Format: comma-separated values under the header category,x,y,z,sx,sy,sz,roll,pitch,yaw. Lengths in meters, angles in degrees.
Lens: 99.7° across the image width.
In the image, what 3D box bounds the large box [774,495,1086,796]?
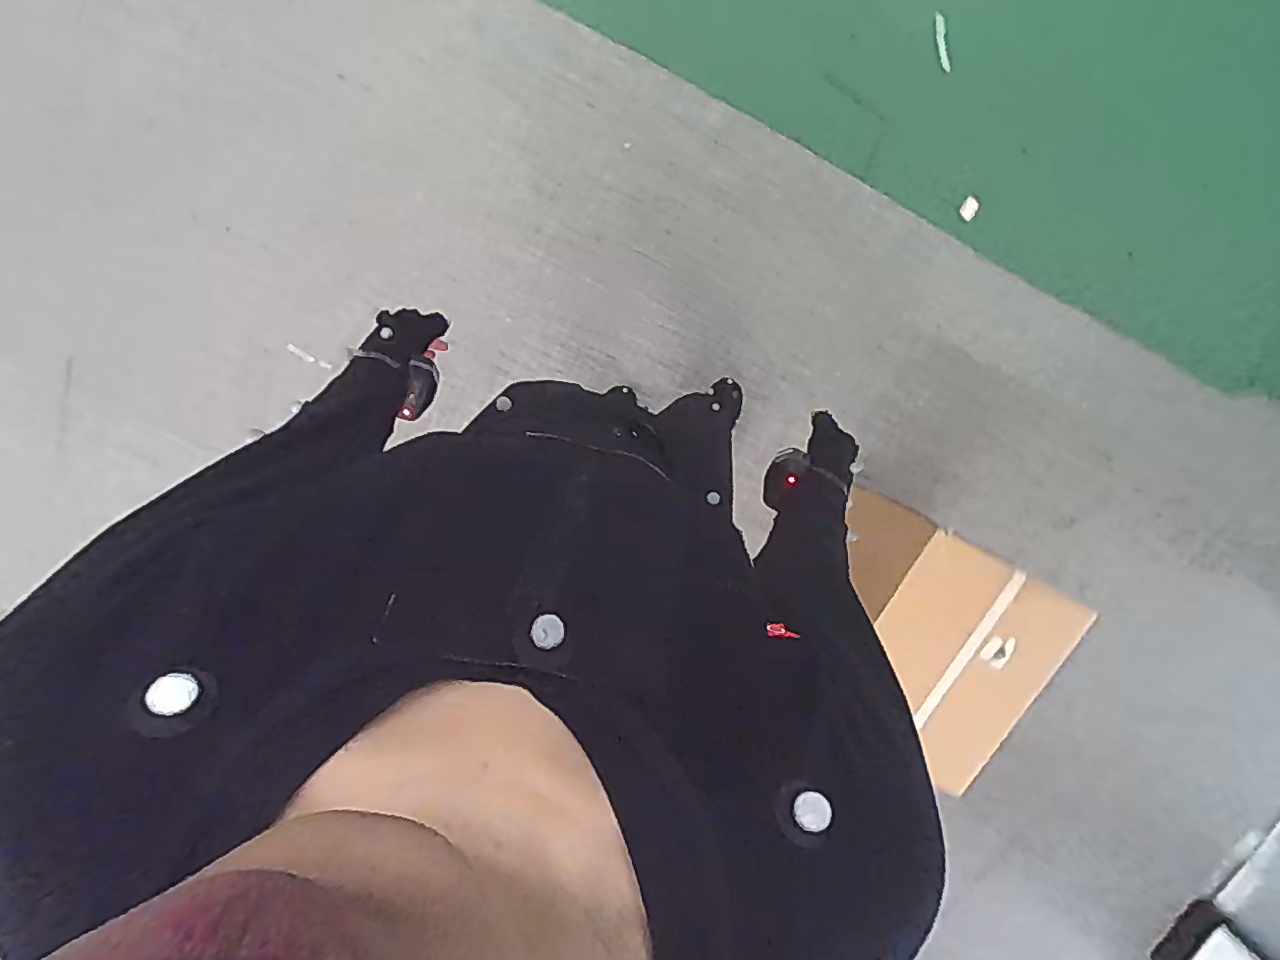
category,x,y,z,sx,sy,sz,roll,pitch,yaw
large box,0.516,0.293,1.058,0.320,0.320,0.408,29,99,-4
